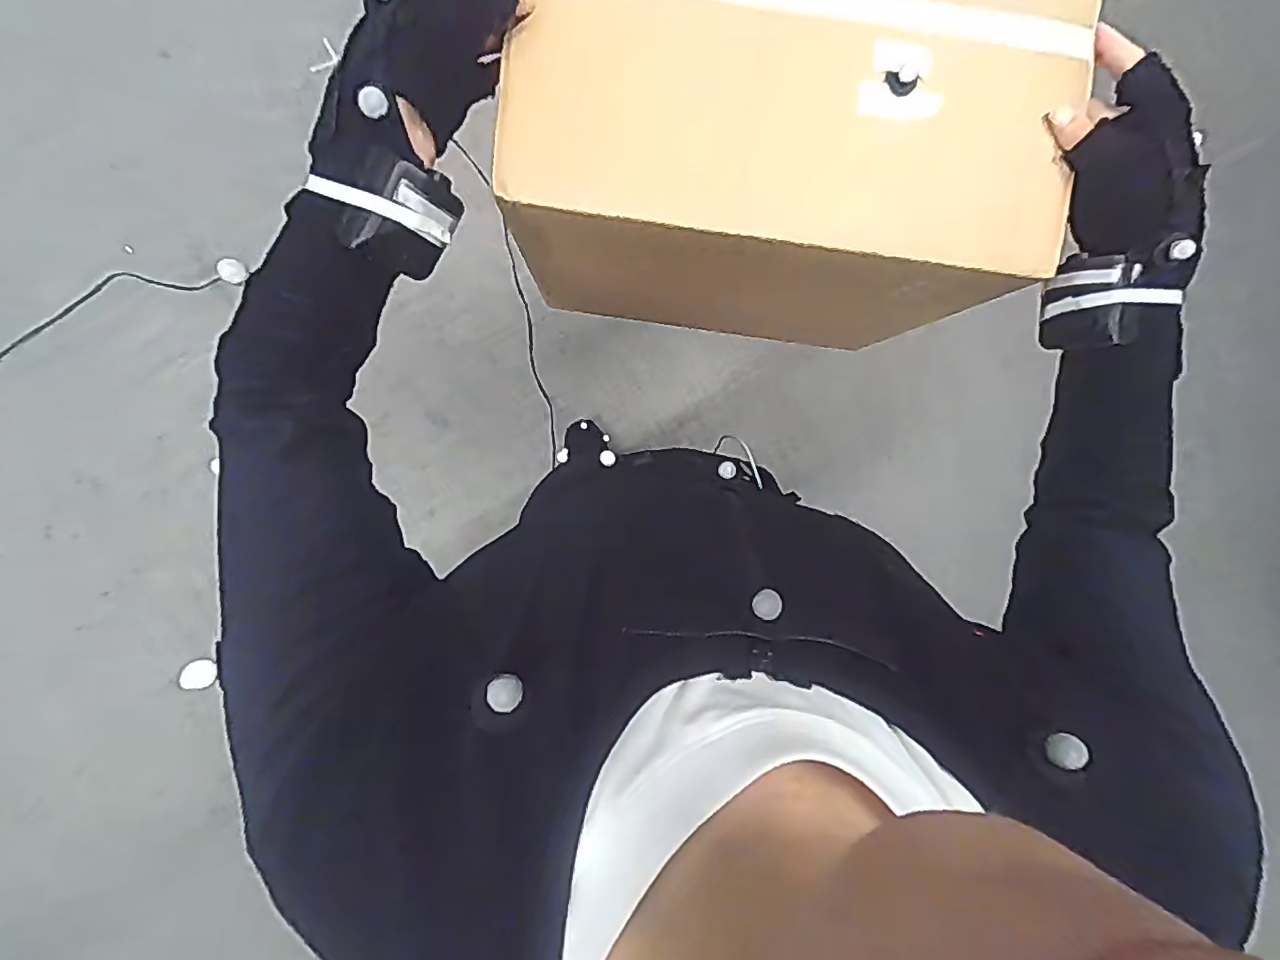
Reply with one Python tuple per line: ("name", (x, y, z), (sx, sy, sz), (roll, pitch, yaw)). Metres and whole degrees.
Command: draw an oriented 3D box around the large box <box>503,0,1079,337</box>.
("large box", (0.104, -0.341, 0.528), (0.408, 0.320, 0.320), (6, 94, -3))
